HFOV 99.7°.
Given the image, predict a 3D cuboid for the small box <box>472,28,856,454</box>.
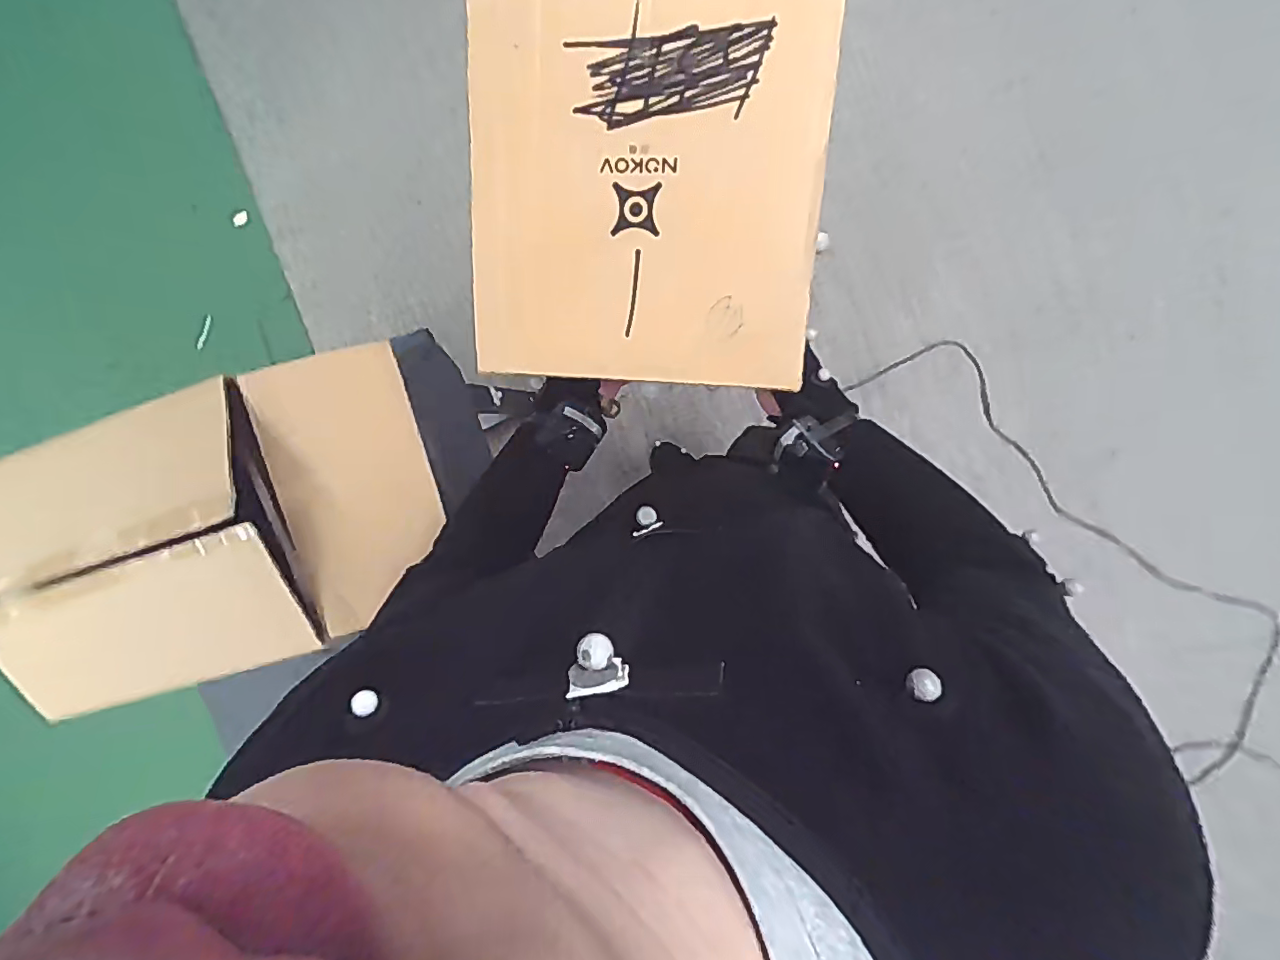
[{"bbox_3d":[0.014,-0.123,0.324,0.168,0.176,0.179,6,106,8],"label":"small box"}]
